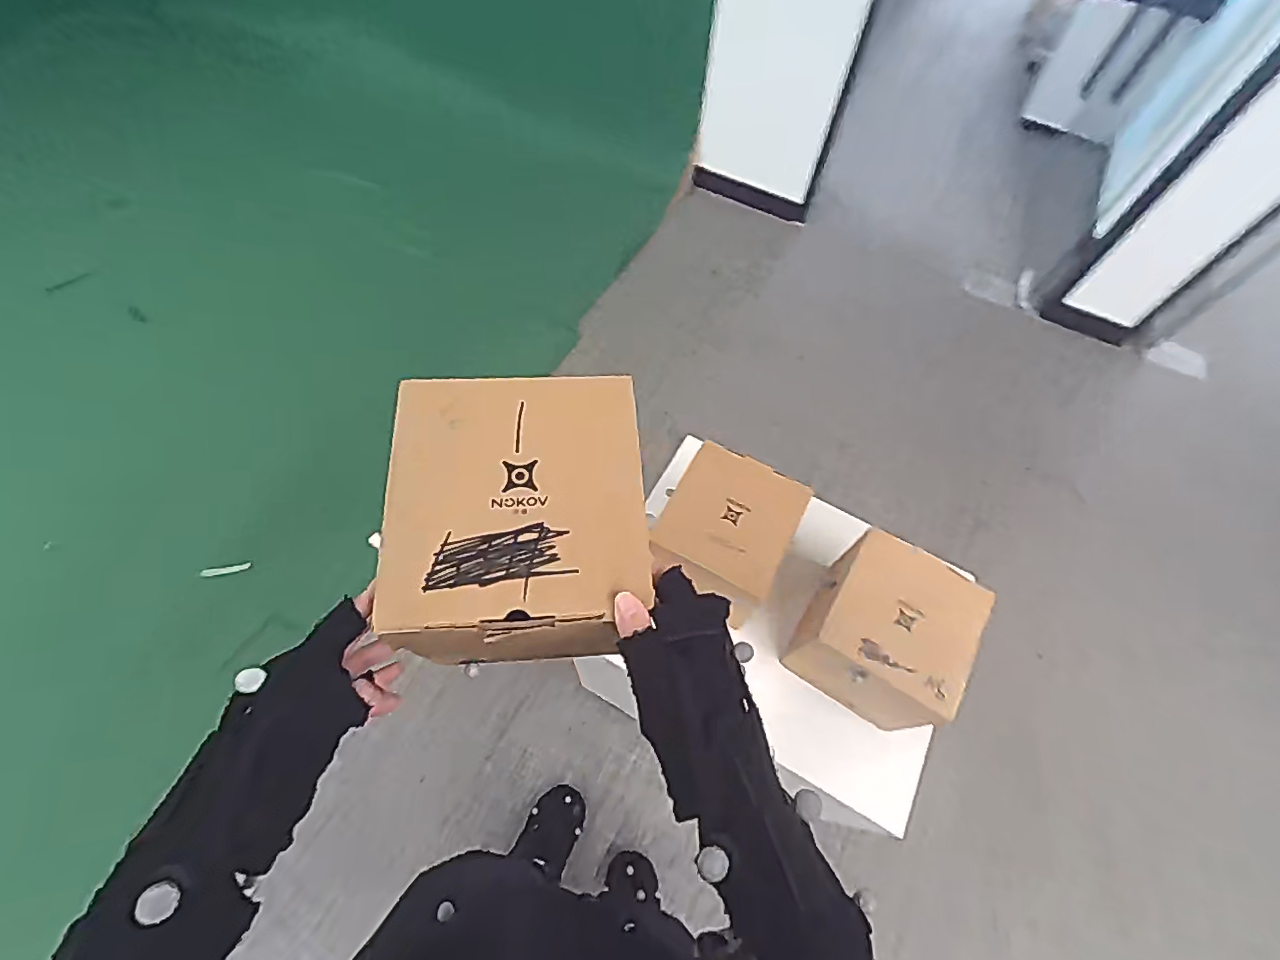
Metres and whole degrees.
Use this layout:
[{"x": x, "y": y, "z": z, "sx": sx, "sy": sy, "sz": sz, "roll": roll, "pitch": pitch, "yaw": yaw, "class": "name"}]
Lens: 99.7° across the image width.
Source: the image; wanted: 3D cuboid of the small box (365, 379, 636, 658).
[{"x": -0.094, "y": 0.041, "z": 0.431, "sx": 0.168, "sy": 0.176, "sz": 0.179, "roll": -3, "pitch": 65, "yaw": -7, "class": "small box"}]

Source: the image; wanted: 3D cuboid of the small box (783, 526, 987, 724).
[{"x": 0.314, "y": 0.199, "z": 0.722, "sx": 0.168, "sy": 0.176, "sz": 0.179, "roll": 31, "pitch": 65, "yaw": 14, "class": "small box"}]

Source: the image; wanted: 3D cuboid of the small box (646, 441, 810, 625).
[{"x": 0.116, "y": 0.081, "z": 0.778, "sx": 0.168, "sy": 0.176, "sz": 0.179, "roll": 26, "pitch": 65, "yaw": 12, "class": "small box"}]
